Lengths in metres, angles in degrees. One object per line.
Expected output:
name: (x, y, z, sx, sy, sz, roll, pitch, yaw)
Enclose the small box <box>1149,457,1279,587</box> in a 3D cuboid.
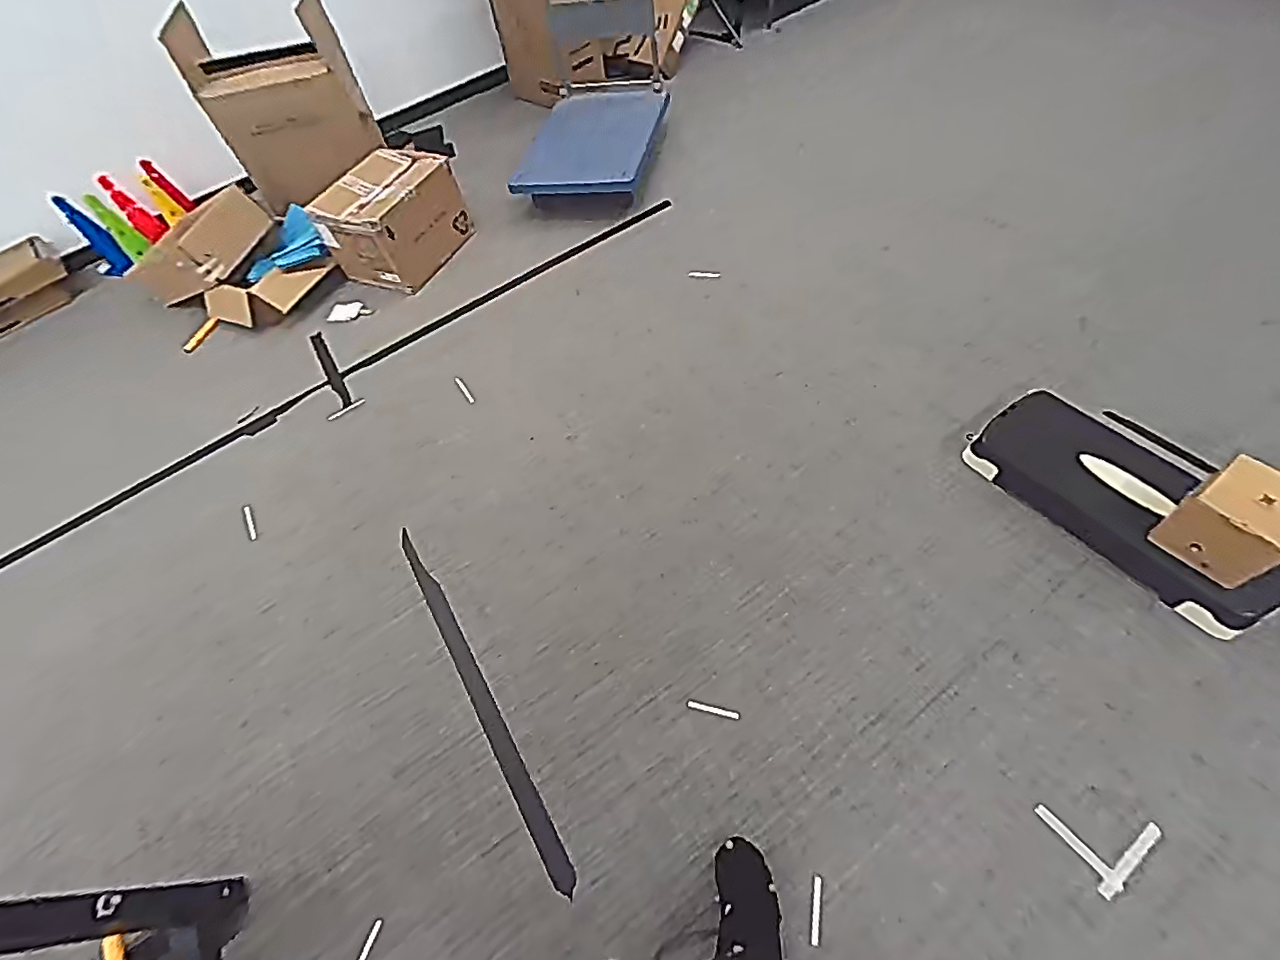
small box: (1.245, 0.091, 1.138, 0.179, 0.176, 0.168, -36, 58, -14)
